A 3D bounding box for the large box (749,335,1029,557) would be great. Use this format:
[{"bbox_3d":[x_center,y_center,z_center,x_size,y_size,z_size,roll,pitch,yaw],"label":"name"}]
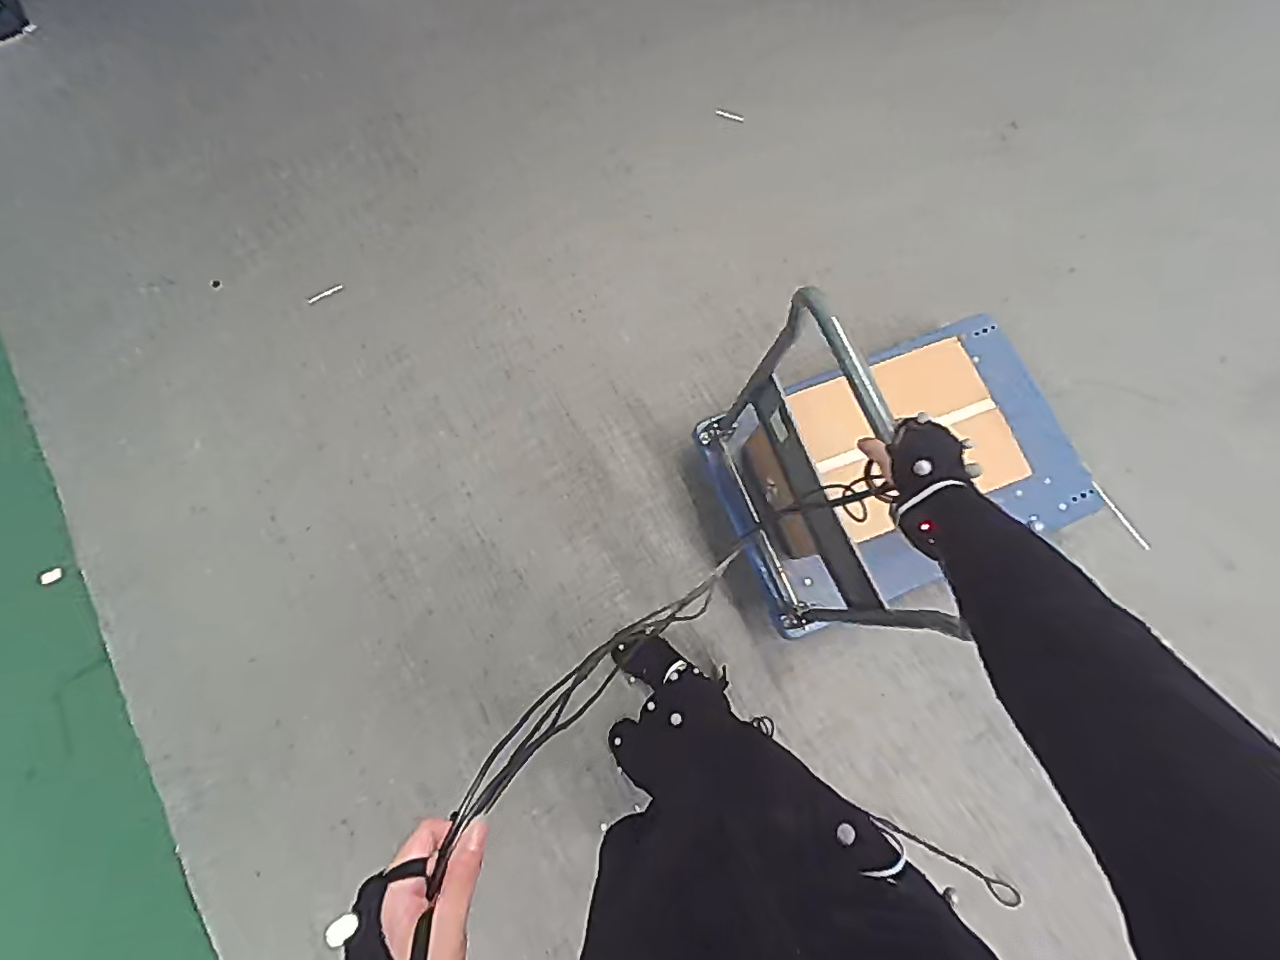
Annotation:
[{"bbox_3d":[0.510,-0.055,1.195,0.408,0.320,0.320,-20,79,-6],"label":"large box"}]
